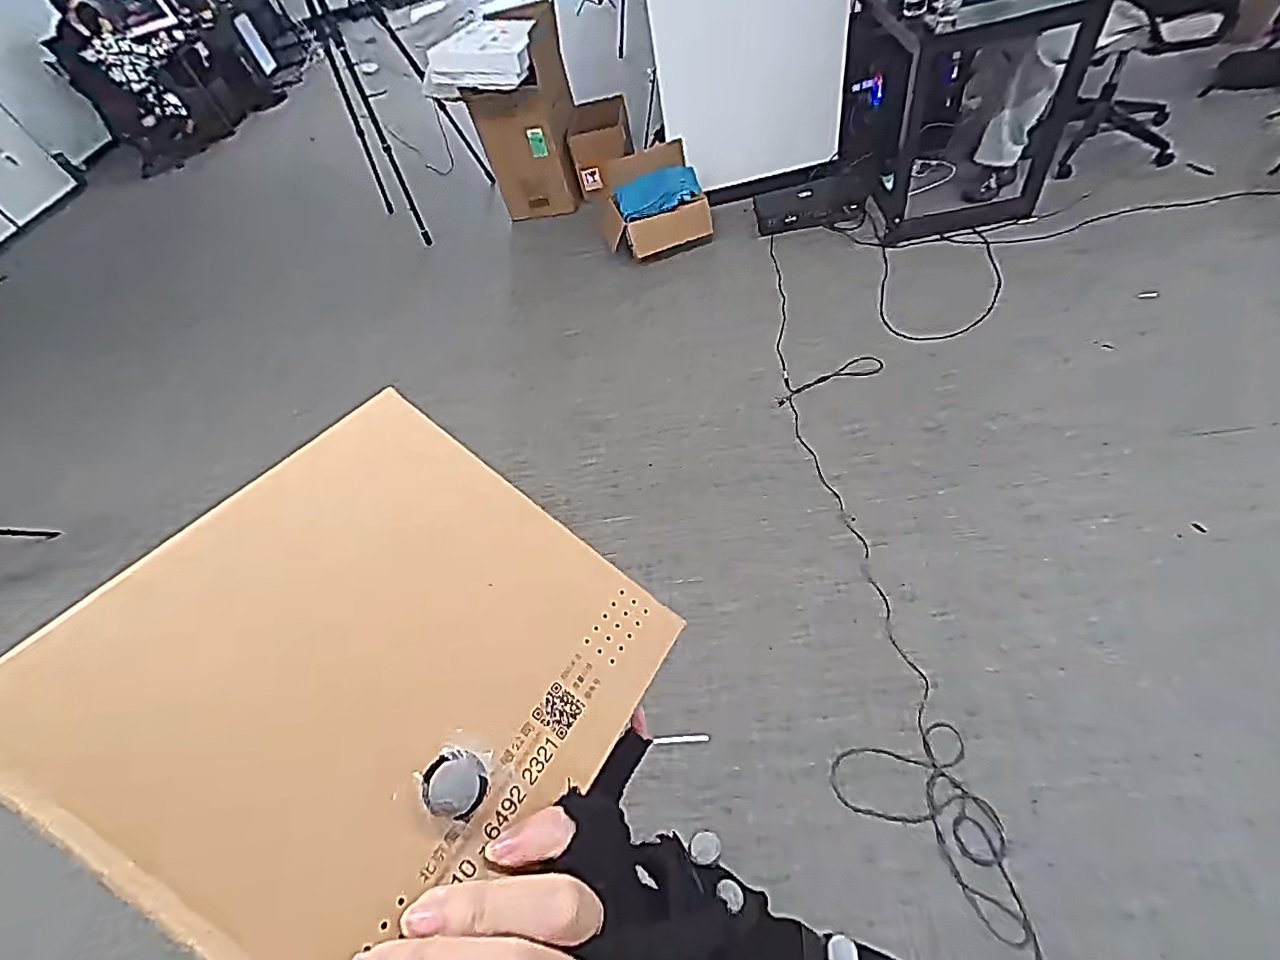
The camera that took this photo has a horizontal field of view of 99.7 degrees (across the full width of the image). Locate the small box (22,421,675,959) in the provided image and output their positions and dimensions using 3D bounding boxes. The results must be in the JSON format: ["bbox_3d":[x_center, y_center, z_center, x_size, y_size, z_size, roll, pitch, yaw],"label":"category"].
[{"bbox_3d":[-0.112,0.112,0.276,0.176,0.179,0.168,38,55,0],"label":"small box"}]
